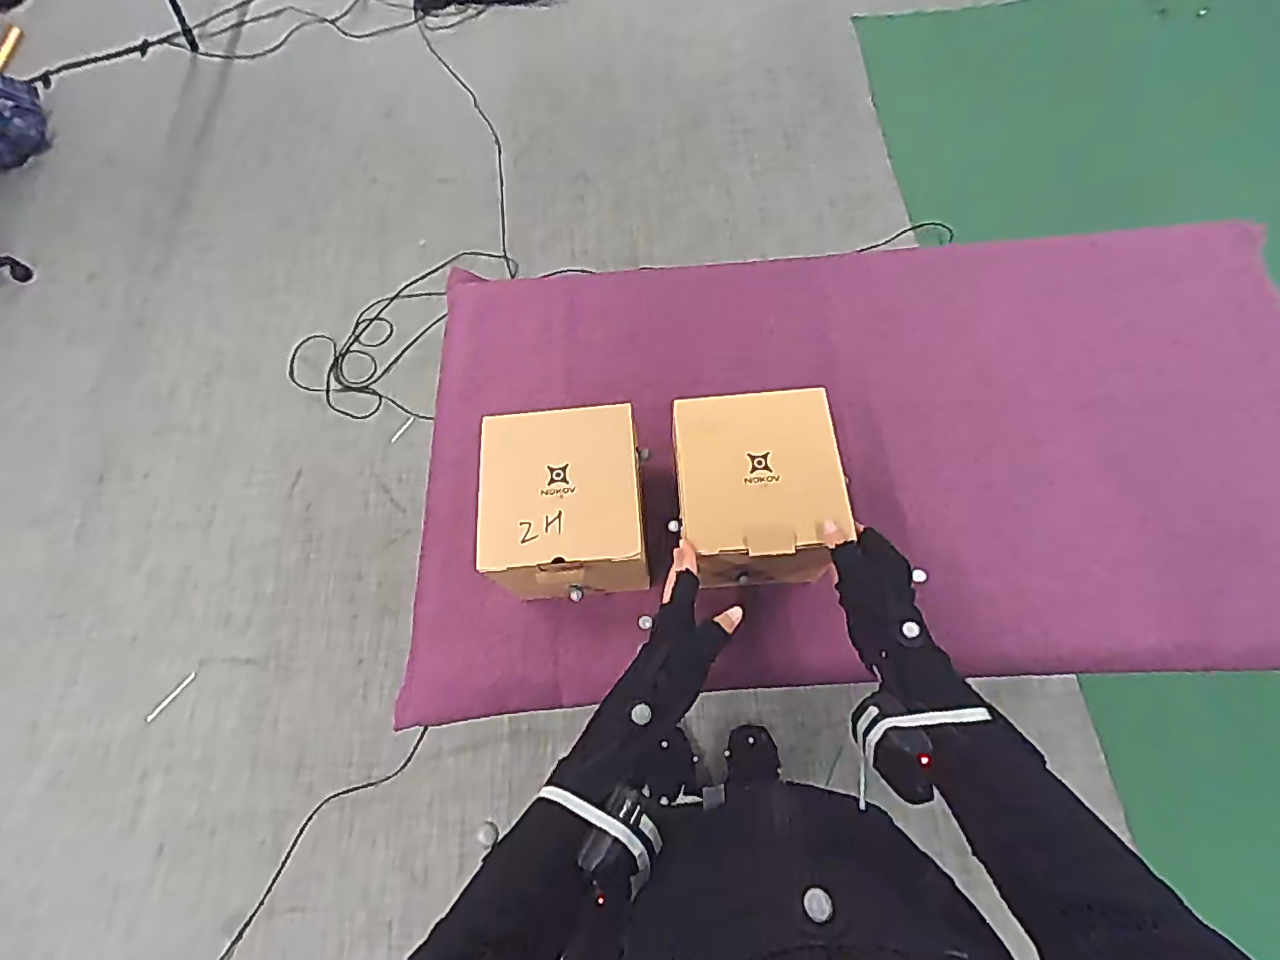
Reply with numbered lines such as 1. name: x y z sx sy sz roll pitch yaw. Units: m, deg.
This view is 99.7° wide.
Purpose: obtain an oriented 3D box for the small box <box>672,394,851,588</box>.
1. small box: 0.125 0.021 0.634 0.168 0.176 0.179 -4 68 2

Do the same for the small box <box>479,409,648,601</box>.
1. small box: -0.080 0.037 0.641 0.168 0.176 0.179 -6 68 2
